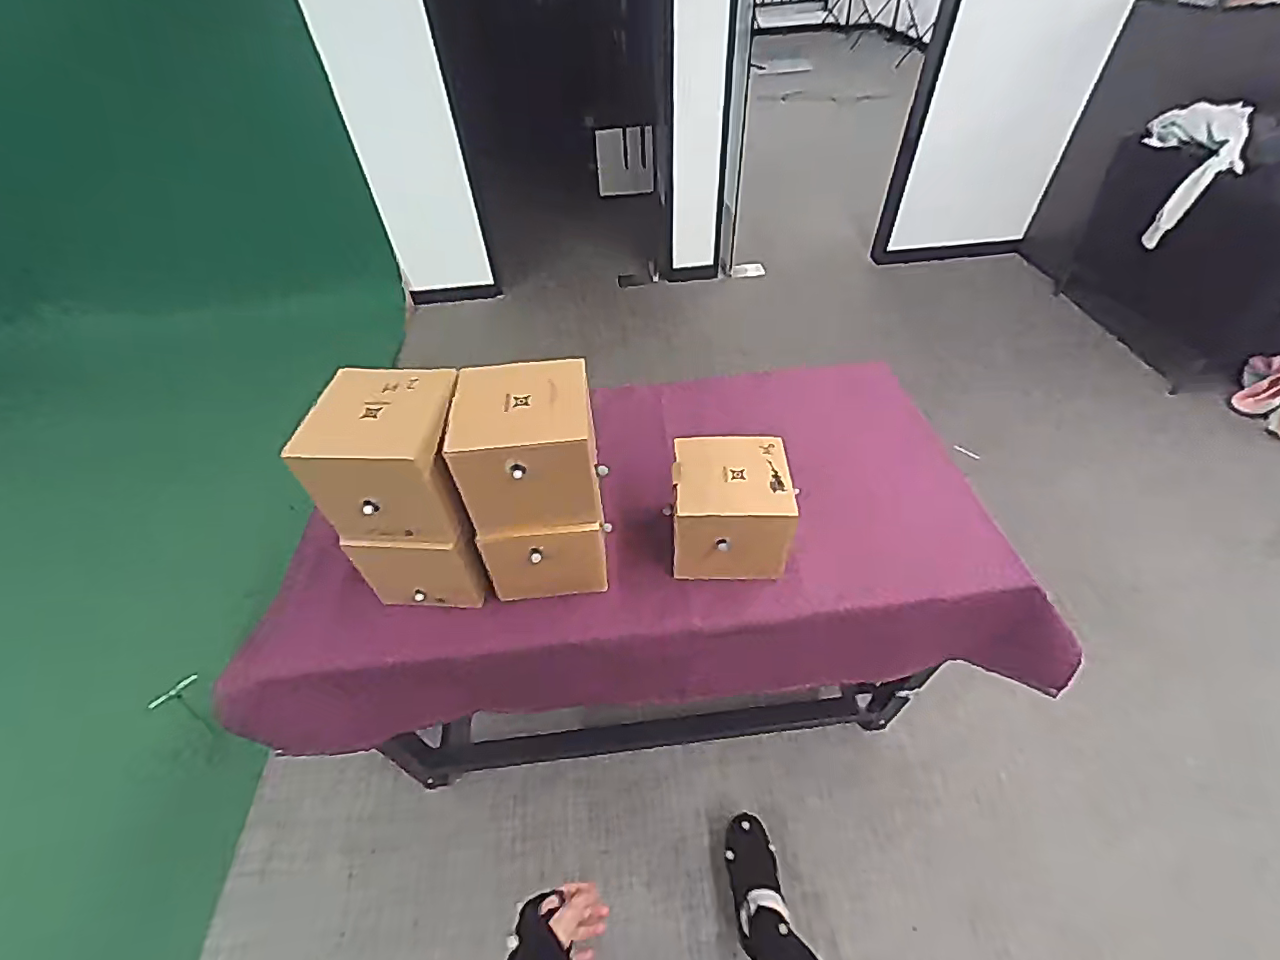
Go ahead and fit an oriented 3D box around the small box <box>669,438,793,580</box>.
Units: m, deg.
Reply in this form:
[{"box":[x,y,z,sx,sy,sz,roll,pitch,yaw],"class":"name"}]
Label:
[{"box":[0.136,0.049,0.872,0.179,0.176,0.168,0,48,3],"class":"small box"}]
